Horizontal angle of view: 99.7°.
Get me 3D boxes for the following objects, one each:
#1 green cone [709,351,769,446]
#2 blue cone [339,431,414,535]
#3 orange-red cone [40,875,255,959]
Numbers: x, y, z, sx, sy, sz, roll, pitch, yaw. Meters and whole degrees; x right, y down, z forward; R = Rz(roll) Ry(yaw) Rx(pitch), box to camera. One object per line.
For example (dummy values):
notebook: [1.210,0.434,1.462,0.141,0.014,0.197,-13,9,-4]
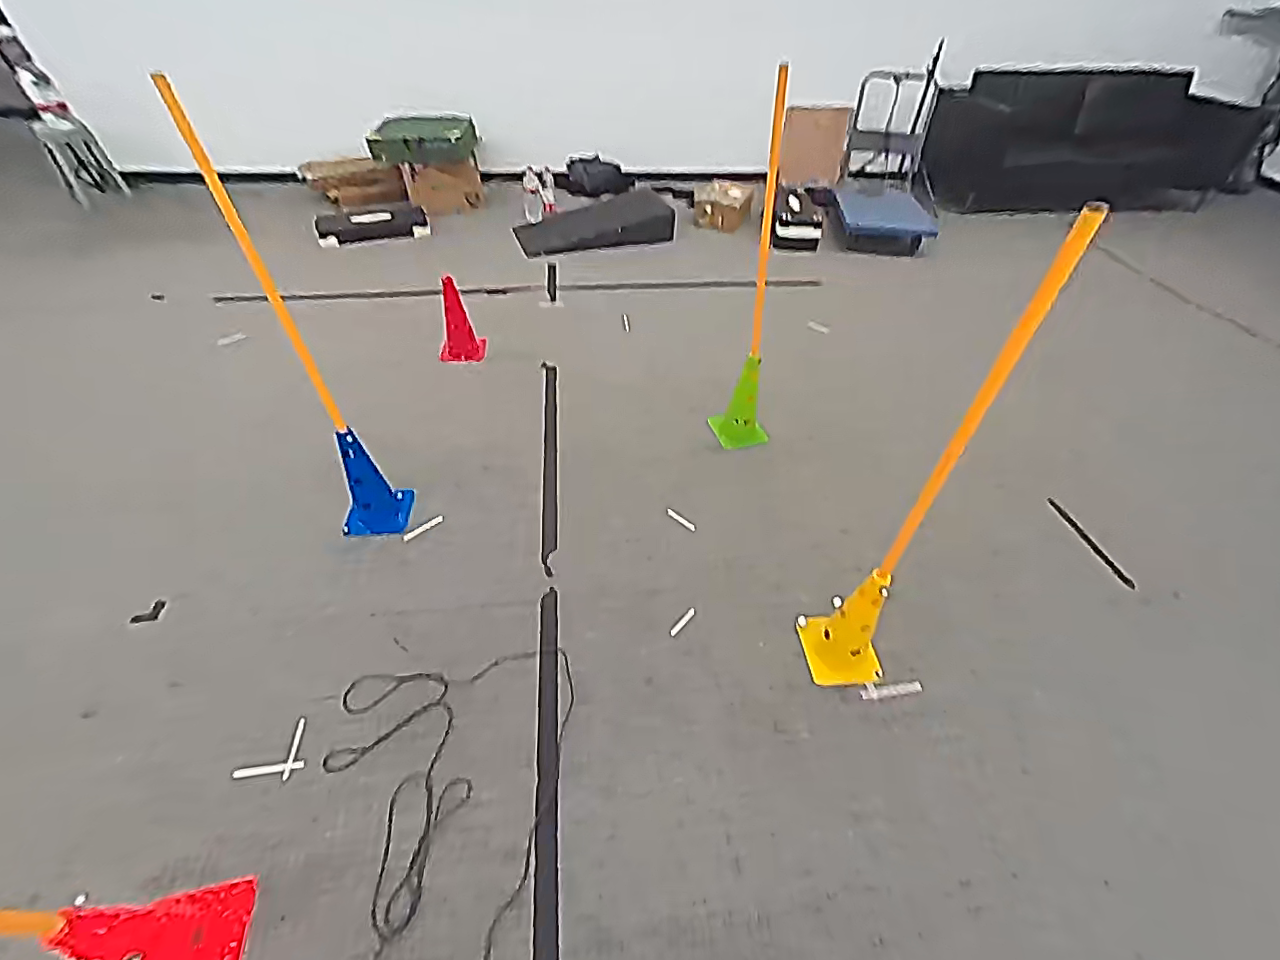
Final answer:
green cone: [0.408,-0.335,2.080,0.200,0.368,0.202,-11,48,-13]
blue cone: [-0.864,-0.008,1.706,0.193,0.380,0.192,-2,45,-4]
orange-red cone: [-0.850,0.761,0.904,0.199,0.360,0.198,-6,46,-11]
